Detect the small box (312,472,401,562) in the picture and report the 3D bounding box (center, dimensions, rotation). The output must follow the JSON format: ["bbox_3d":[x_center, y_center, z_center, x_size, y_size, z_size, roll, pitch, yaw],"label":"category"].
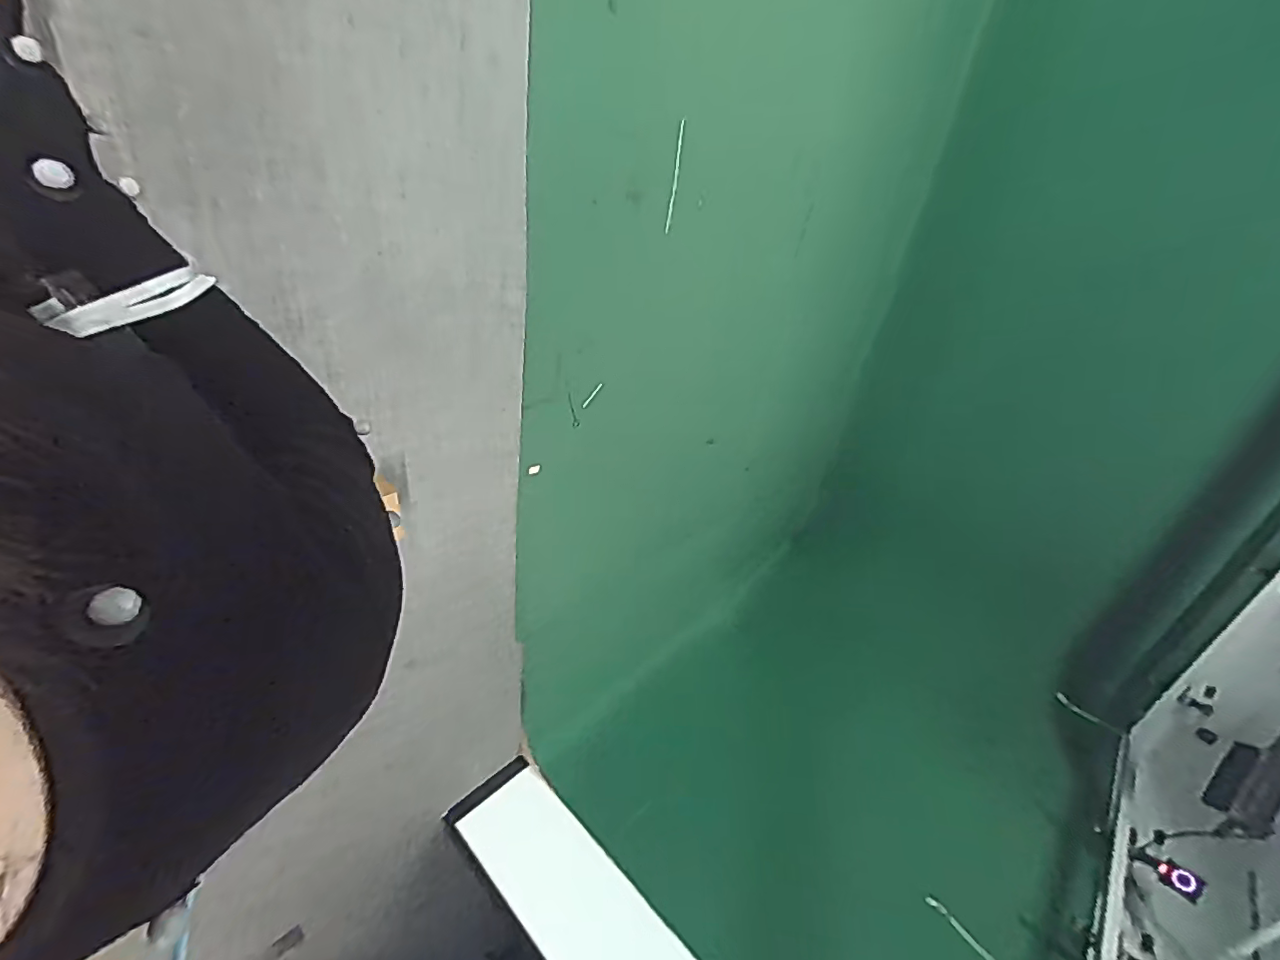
[{"bbox_3d":[-0.812,0.100,1.546,0.179,0.176,0.168,-24,134,-40],"label":"small box"}]
